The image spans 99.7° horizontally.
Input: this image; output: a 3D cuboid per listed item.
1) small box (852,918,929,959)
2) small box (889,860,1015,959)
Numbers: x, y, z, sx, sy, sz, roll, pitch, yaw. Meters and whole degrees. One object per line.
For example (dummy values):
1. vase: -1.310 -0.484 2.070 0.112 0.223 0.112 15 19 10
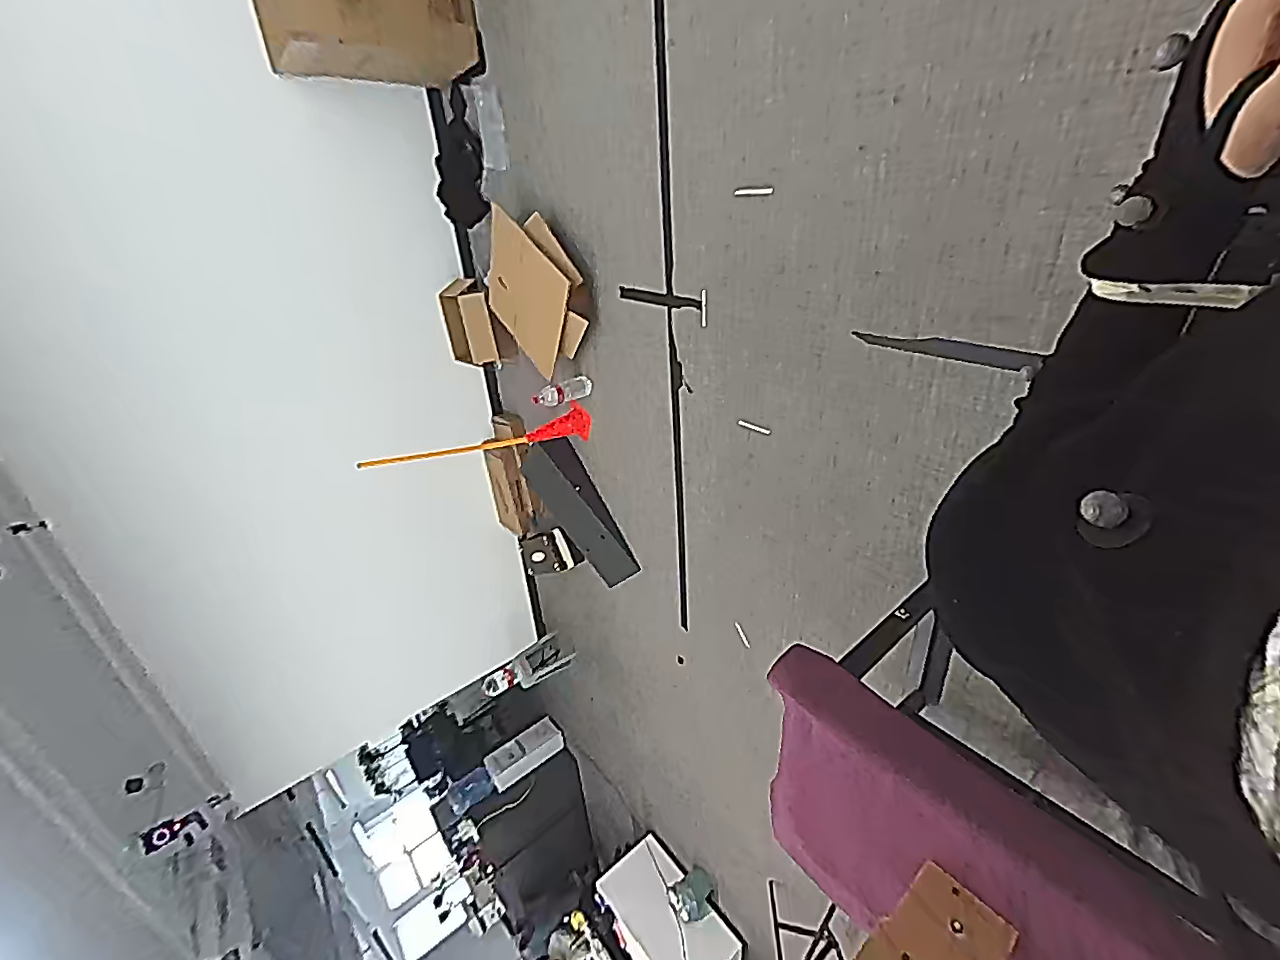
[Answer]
1. small box: 0.456 0.949 0.970 0.168 0.176 0.179 31 135 44
2. small box: 0.589 0.893 1.045 0.168 0.176 0.179 29 133 45
